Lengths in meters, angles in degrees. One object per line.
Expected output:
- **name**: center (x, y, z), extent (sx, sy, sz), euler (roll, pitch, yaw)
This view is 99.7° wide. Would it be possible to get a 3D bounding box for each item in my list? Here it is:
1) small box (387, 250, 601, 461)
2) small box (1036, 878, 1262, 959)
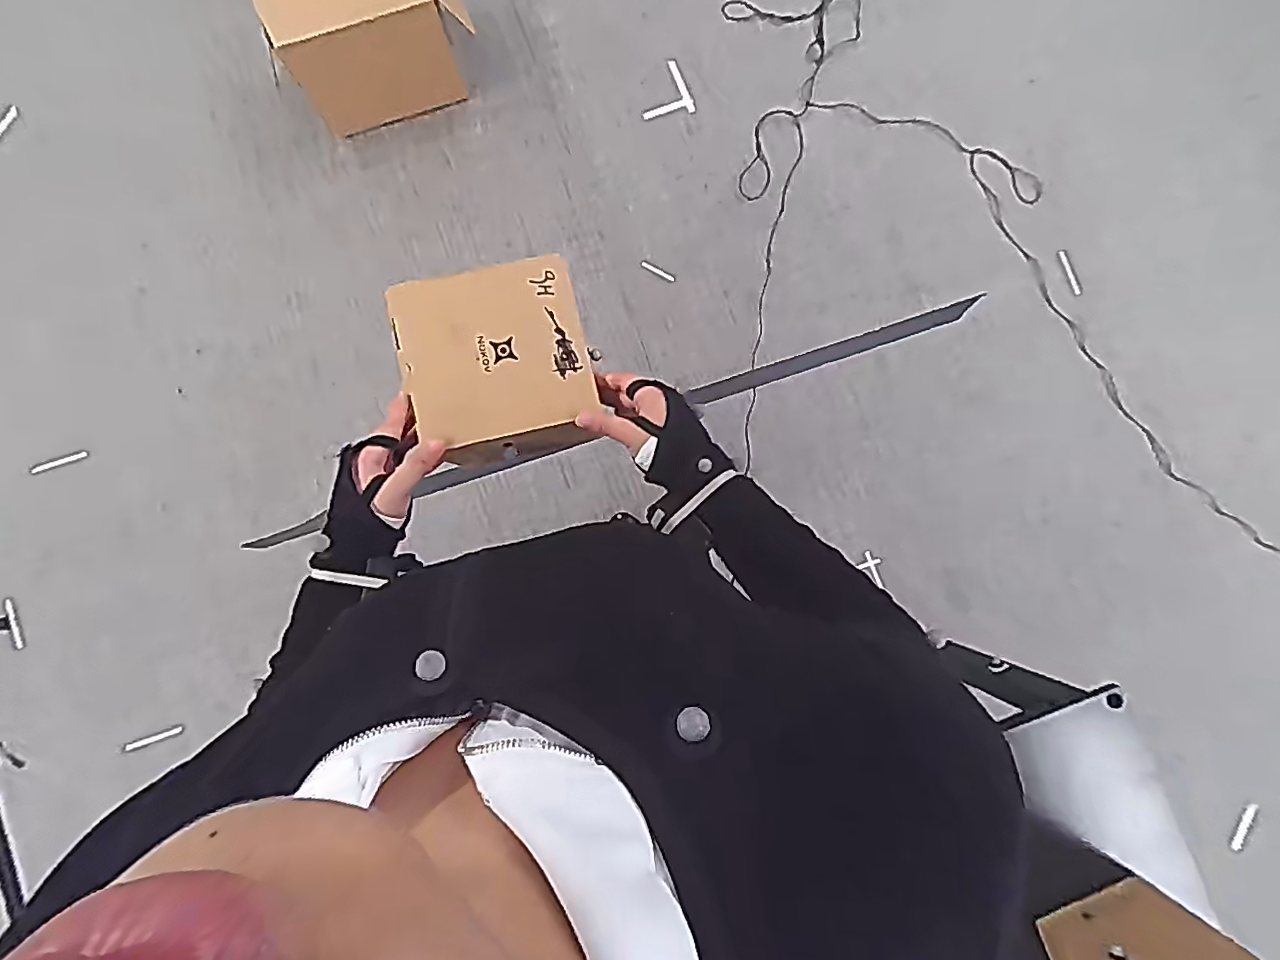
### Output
- **small box**: center (-0.144, -0.122, 0.595), extent (0.179, 0.176, 0.168), euler (-14, 88, -5)
- **small box**: center (0.654, 0.649, 0.679), extent (0.168, 0.176, 0.179), euler (-22, 87, -2)
